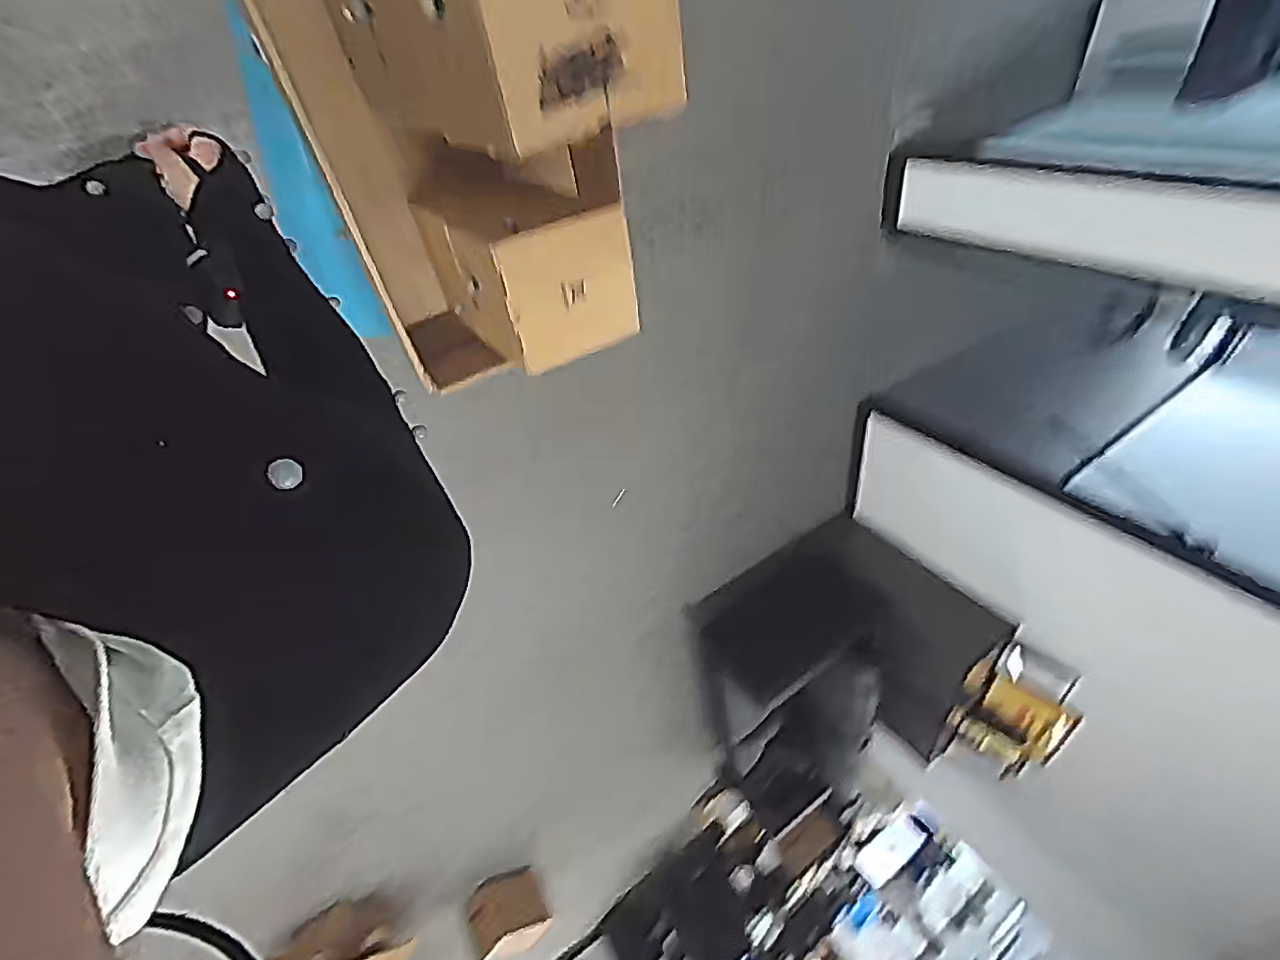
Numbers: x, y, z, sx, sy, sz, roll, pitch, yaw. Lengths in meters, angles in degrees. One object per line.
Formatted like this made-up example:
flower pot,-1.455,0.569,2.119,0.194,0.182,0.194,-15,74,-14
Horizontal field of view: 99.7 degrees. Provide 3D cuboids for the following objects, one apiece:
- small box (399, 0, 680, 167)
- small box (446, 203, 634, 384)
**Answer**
small box,-0.087,-0.378,0.442,0.168,0.176,0.179,-29,133,-21
small box,-0.132,-0.259,0.729,0.179,0.176,0.168,-28,133,-22
